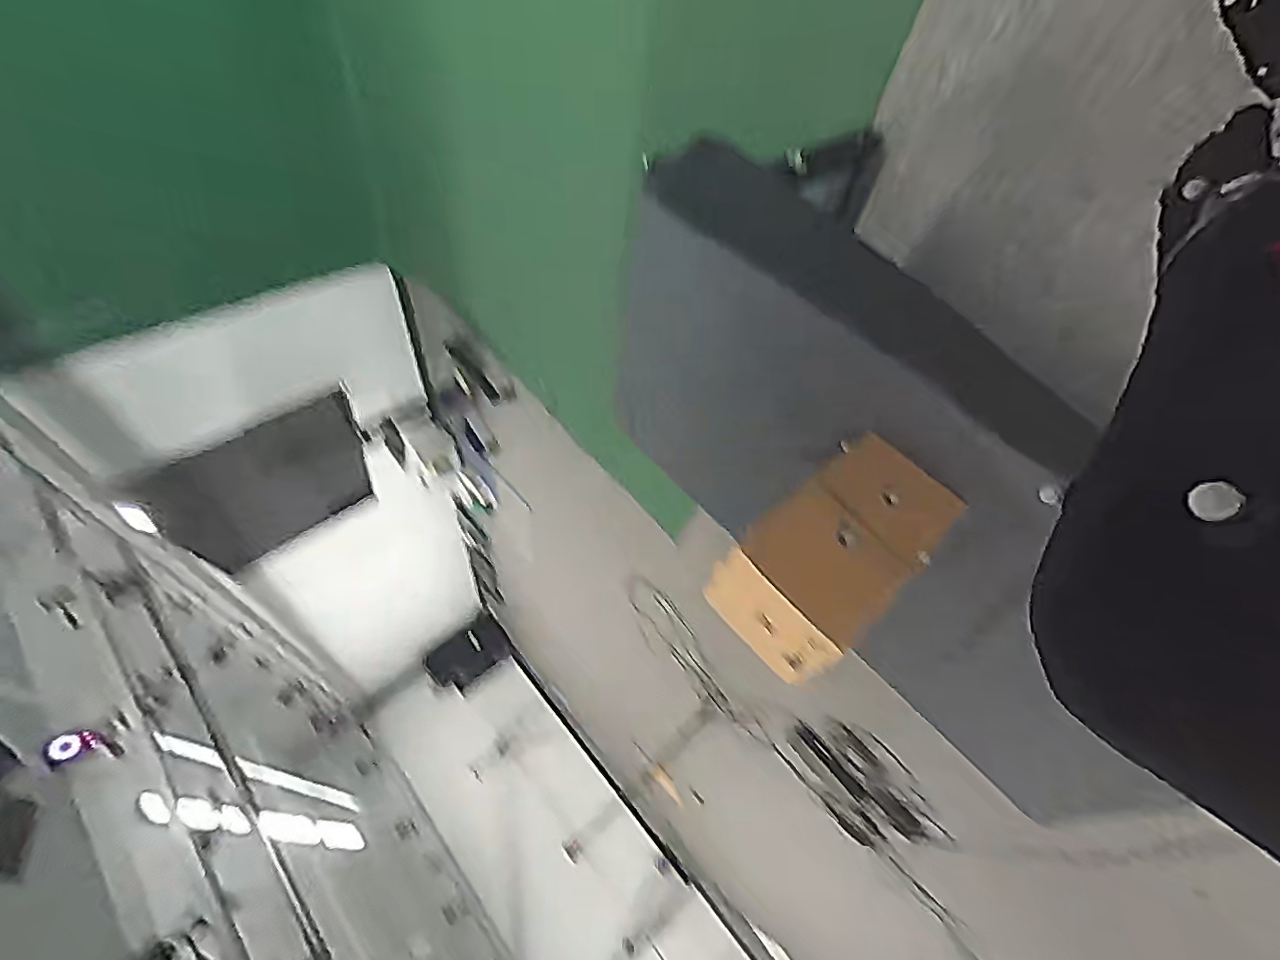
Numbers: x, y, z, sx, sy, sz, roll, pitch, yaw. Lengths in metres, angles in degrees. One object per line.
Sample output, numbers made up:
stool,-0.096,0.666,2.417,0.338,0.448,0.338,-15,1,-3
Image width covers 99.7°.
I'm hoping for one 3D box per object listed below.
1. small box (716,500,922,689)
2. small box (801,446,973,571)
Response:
small box,0.242,0.150,0.752,0.179,0.176,0.168,46,151,20
small box,0.359,0.071,0.833,0.179,0.176,0.168,44,149,25
